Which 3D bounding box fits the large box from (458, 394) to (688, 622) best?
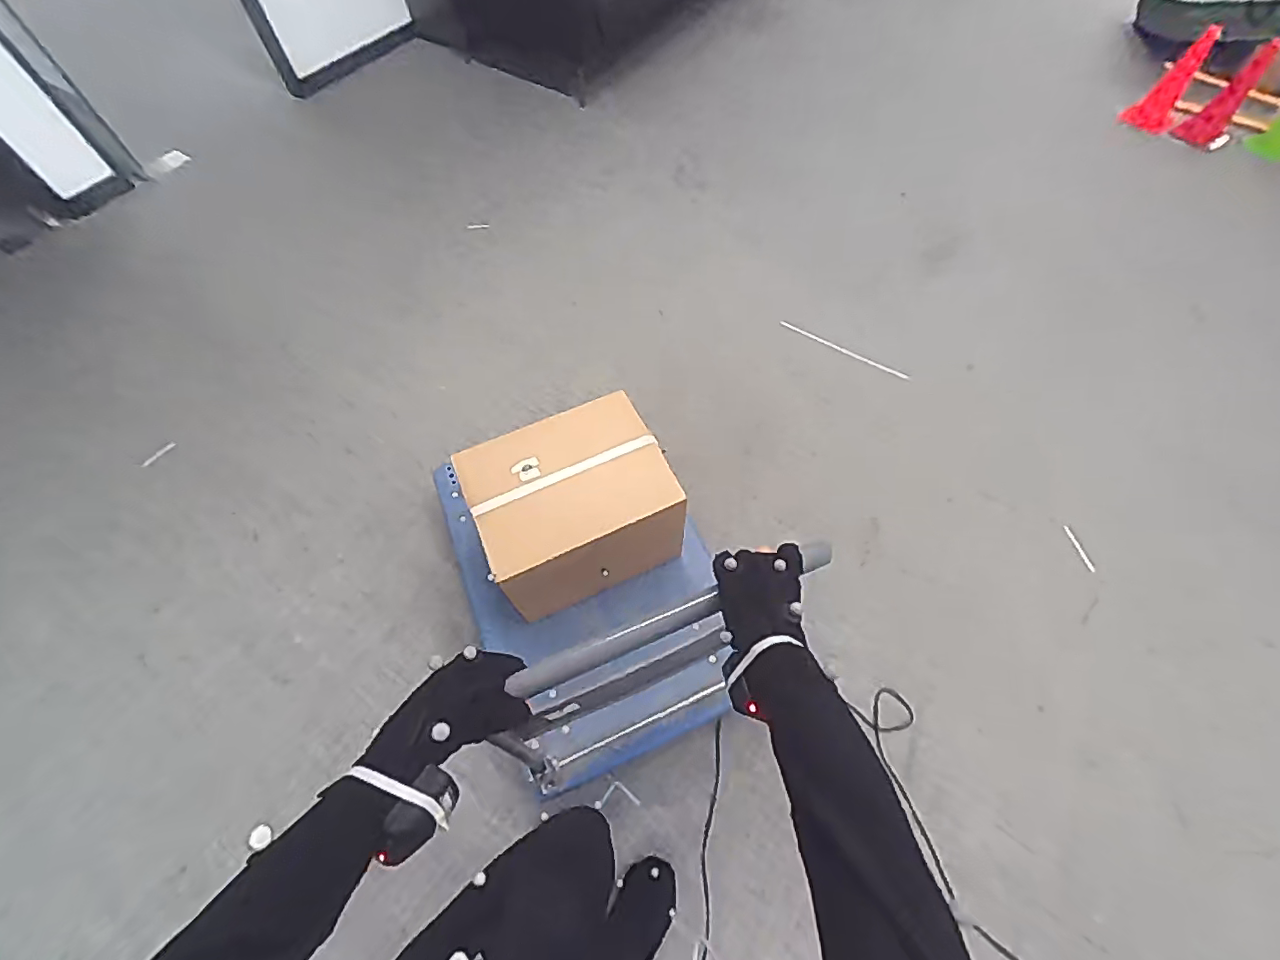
[{"bbox_3d":[-0.139,0.072,1.247,0.408,0.320,0.320,-24,62,-11],"label":"large box"}]
